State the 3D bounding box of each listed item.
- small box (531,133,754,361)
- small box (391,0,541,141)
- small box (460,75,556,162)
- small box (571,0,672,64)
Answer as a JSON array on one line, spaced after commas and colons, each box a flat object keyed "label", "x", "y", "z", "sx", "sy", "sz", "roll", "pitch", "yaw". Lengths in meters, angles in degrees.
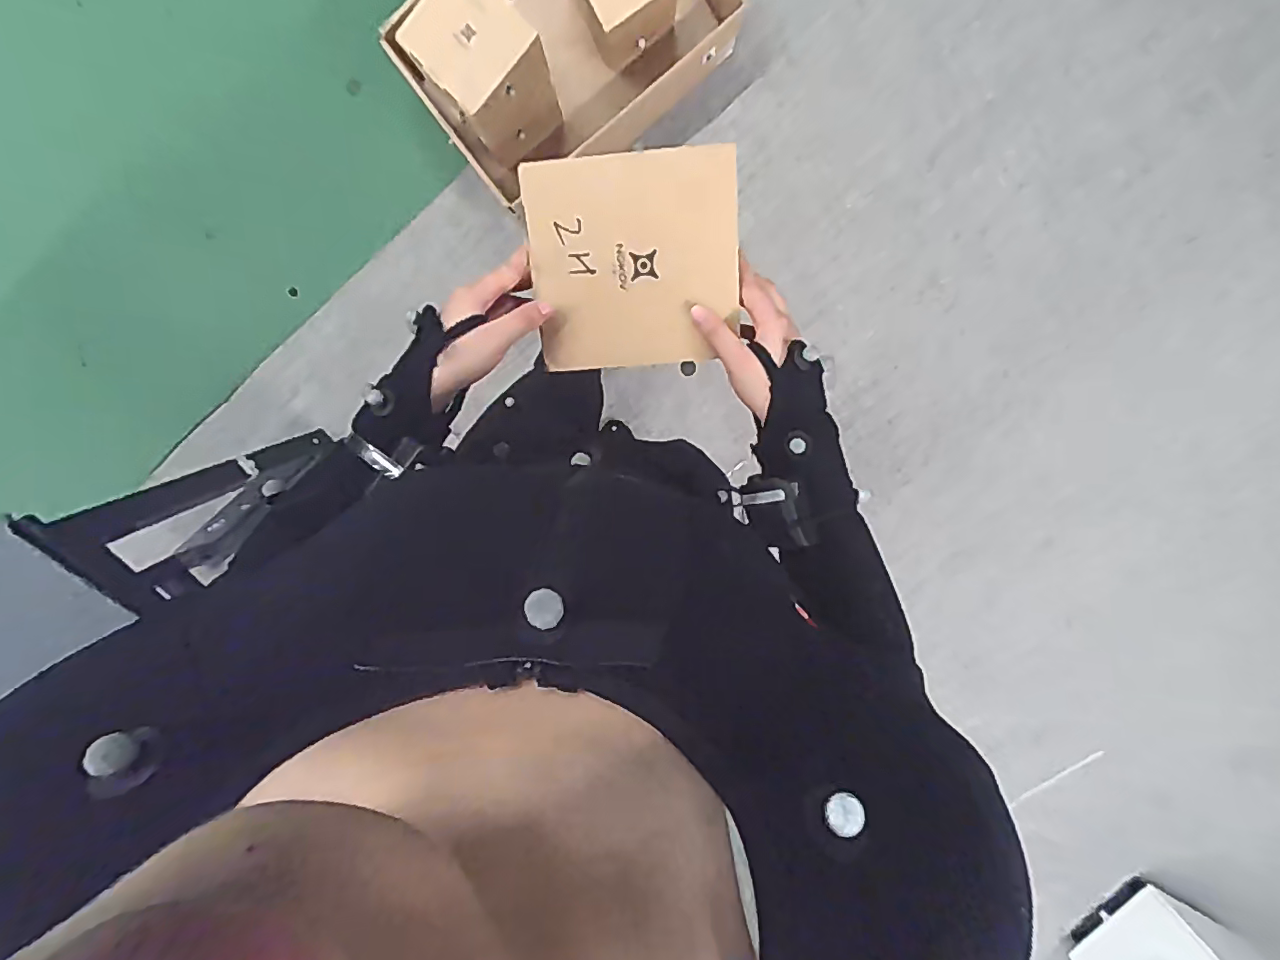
[{"label": "small box", "x": 0.007, "y": -0.212, "z": 0.518, "sx": 0.179, "sy": 0.176, "sz": 0.168, "roll": -4, "pitch": 109, "yaw": 3}, {"label": "small box", "x": -0.291, "y": -0.745, "z": 0.951, "sx": 0.168, "sy": 0.176, "sz": 0.179, "roll": 42, "pitch": 99, "yaw": -14}, {"label": "small box", "x": -0.293, "y": -0.795, "z": 1.108, "sx": 0.179, "sy": 0.176, "sz": 0.168, "roll": -35, "pitch": 105, "yaw": 9}, {"label": "small box", "x": -0.048, "y": -0.979, "z": 1.061, "sx": 0.168, "sy": 0.176, "sz": 0.179, "roll": -29, "pitch": 107, "yaw": 7}]
